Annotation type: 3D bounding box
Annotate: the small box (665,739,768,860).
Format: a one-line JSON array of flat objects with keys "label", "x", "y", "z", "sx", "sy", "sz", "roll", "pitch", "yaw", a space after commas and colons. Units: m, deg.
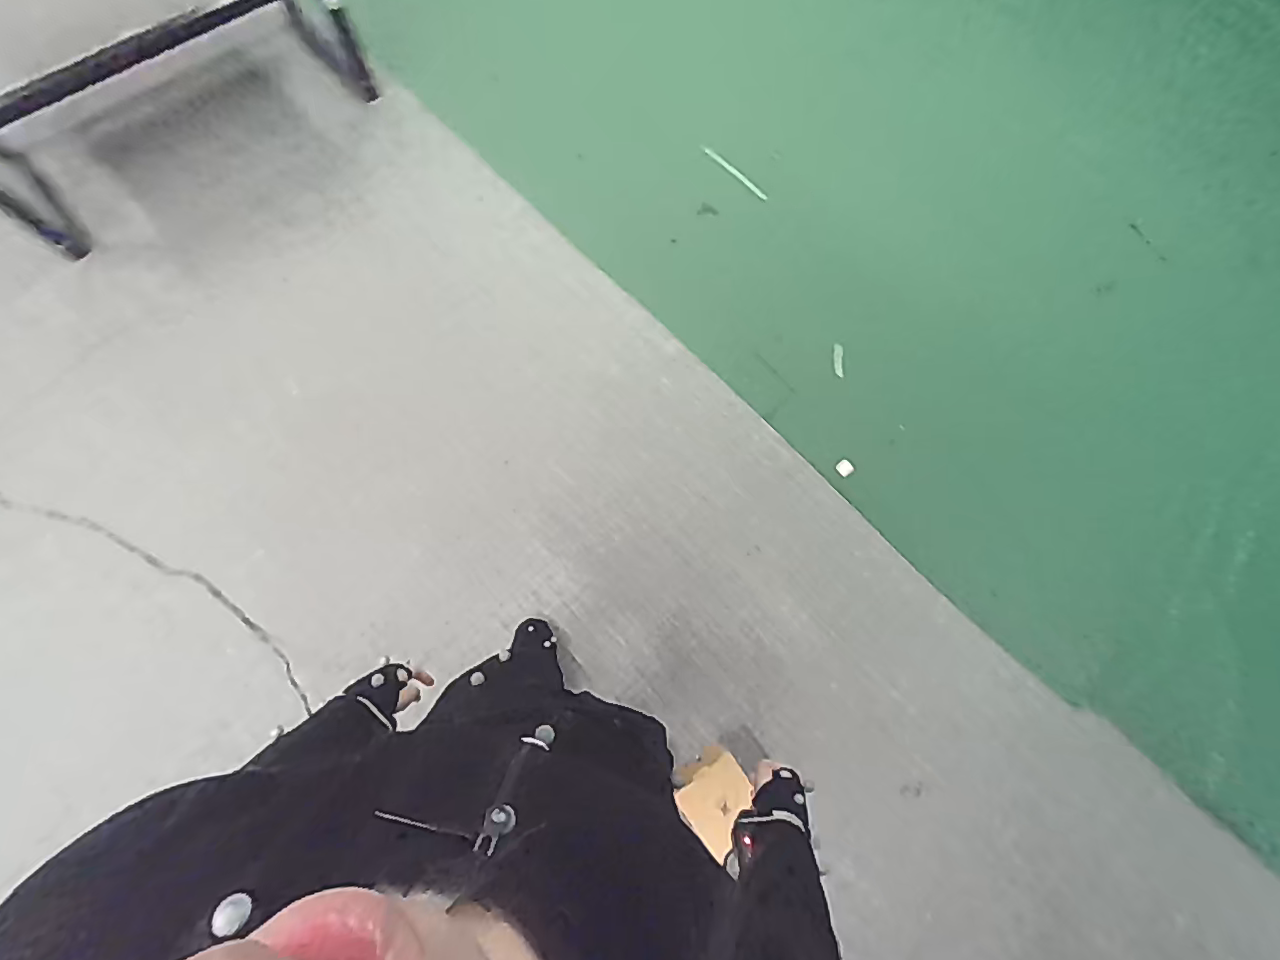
[{"label": "small box", "x": 0.179, "y": 0.767, "z": 1.323, "sx": 0.168, "sy": 0.176, "sz": 0.179, "roll": -33, "pitch": 77, "yaw": -13}]
